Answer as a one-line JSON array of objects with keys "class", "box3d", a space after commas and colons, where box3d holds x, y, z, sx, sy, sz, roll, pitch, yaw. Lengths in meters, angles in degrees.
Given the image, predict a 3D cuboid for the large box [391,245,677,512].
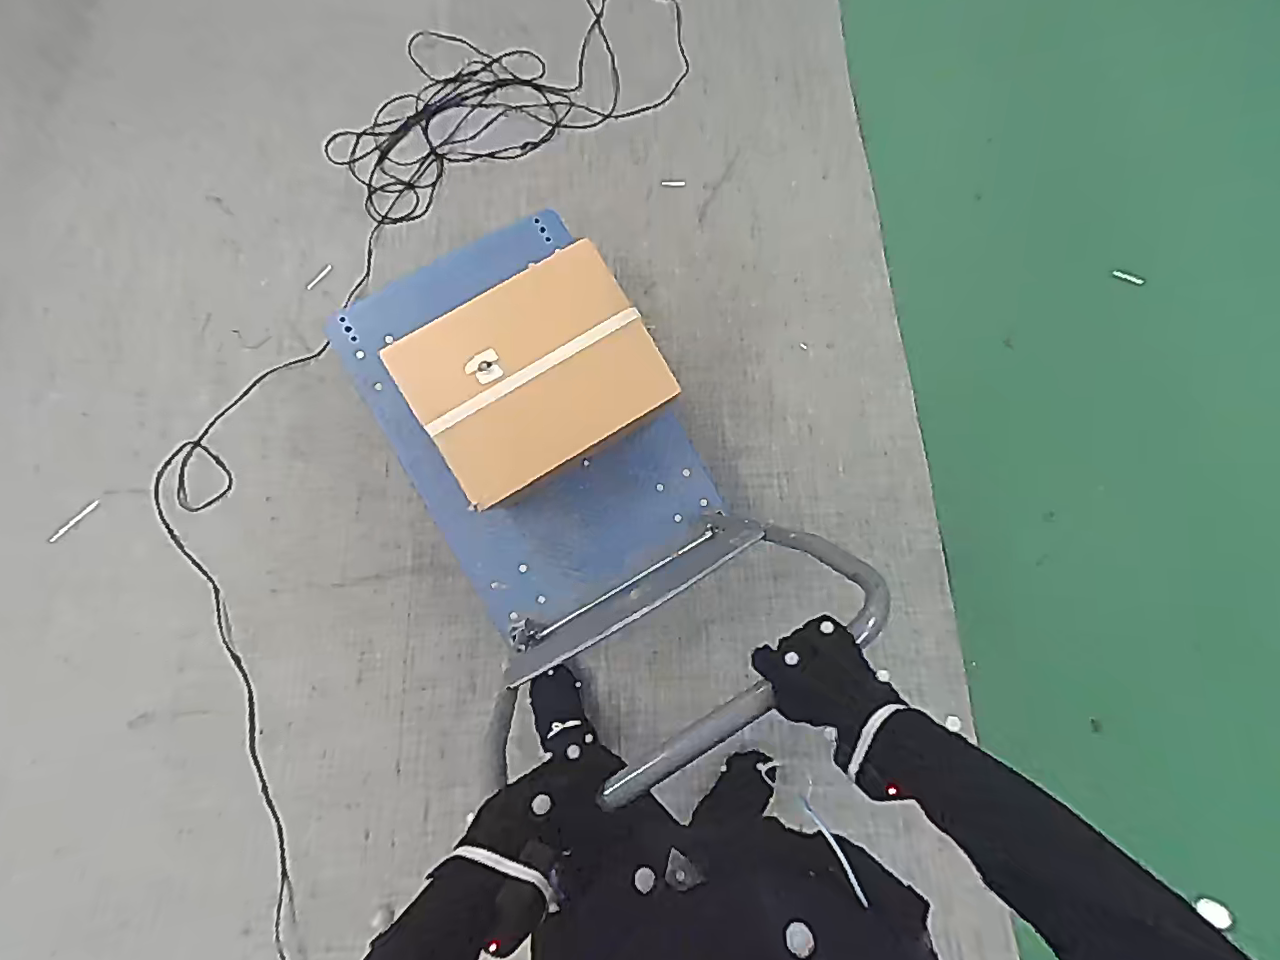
[{"class": "large box", "box3d": [-0.189, -0.177, 1.077, 0.408, 0.320, 0.320, -32, 91, -4]}]
